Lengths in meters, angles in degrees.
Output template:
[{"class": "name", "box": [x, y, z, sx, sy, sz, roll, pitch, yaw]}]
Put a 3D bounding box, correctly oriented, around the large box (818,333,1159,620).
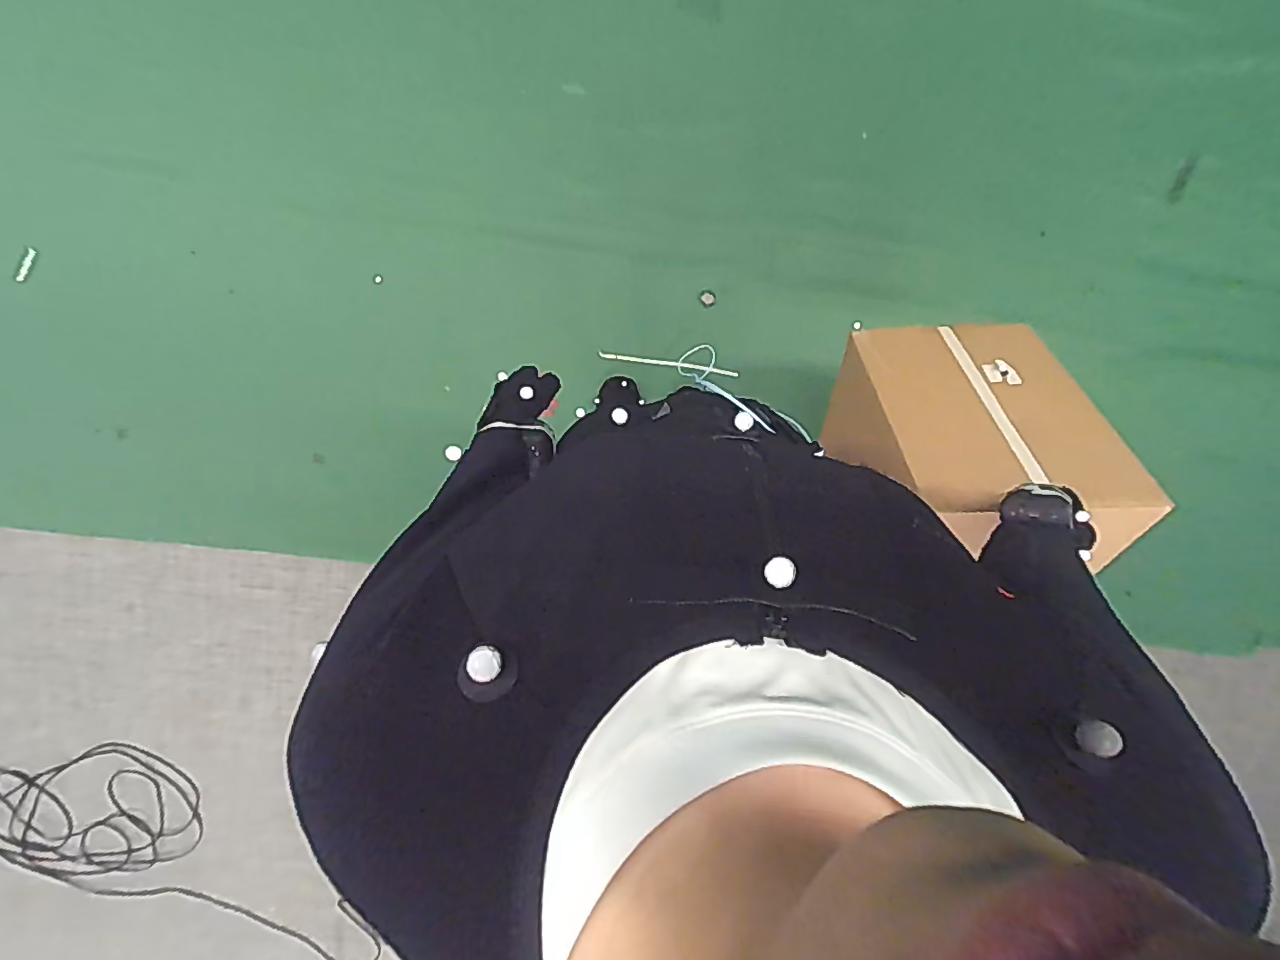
[{"class": "large box", "box": [0.534, -0.008, 0.948, 0.320, 0.408, 0.320, -1, 138, 1]}]
